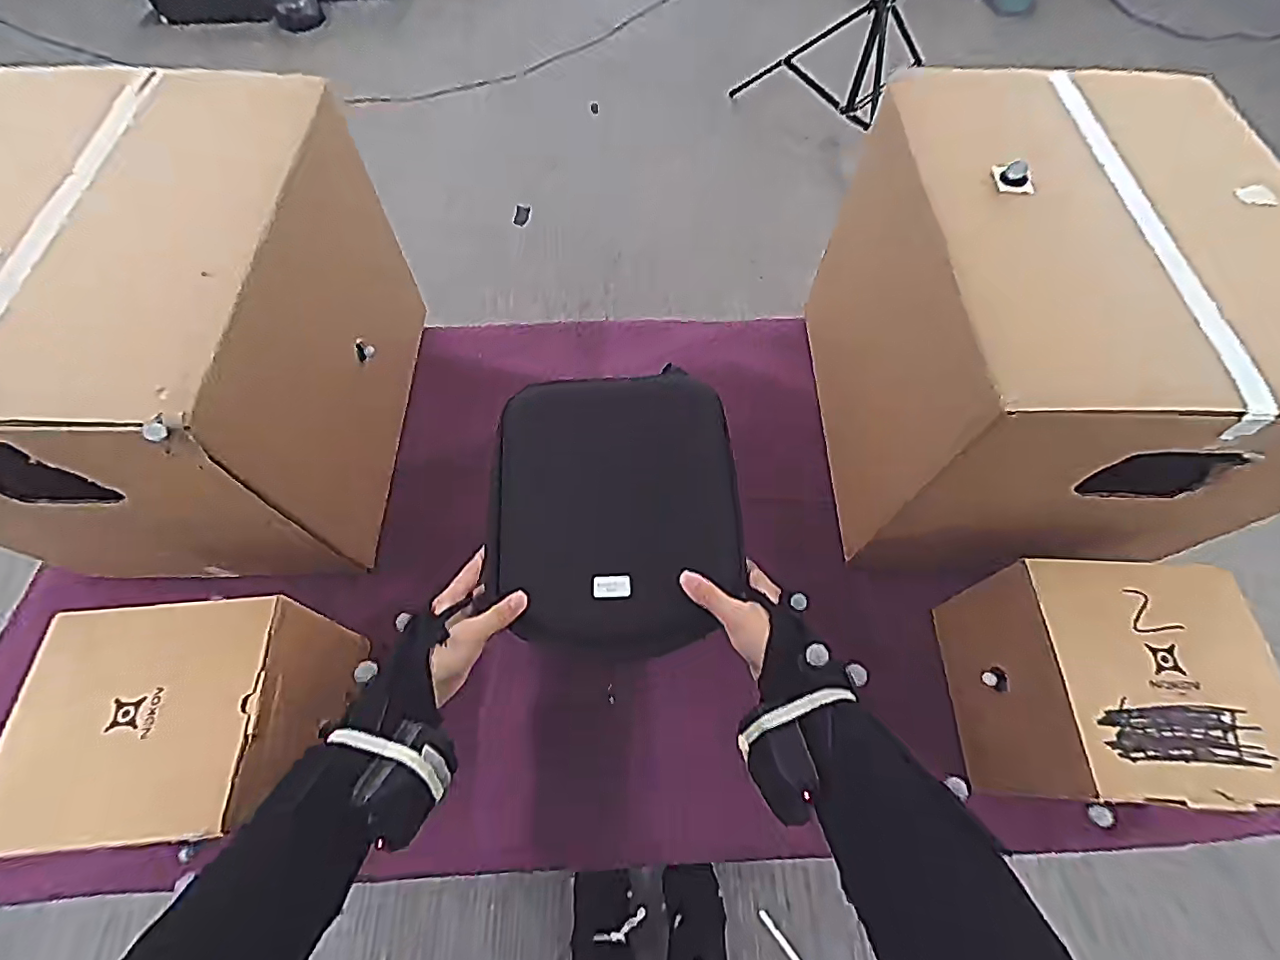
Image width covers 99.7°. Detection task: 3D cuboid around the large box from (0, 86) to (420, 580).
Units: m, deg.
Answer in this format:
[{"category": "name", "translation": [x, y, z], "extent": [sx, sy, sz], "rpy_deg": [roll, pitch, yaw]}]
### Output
[{"category": "large box", "translation": [-0.454, -0.132, 0.570], "extent": [0.320, 0.320, 0.408], "rpy_deg": [-1, 64, -2]}]

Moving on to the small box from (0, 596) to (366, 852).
[{"category": "small box", "translation": [-0.370, 0.211, 0.467], "extent": [0.179, 0.176, 0.168], "rpy_deg": [-5, 61, -4]}]
